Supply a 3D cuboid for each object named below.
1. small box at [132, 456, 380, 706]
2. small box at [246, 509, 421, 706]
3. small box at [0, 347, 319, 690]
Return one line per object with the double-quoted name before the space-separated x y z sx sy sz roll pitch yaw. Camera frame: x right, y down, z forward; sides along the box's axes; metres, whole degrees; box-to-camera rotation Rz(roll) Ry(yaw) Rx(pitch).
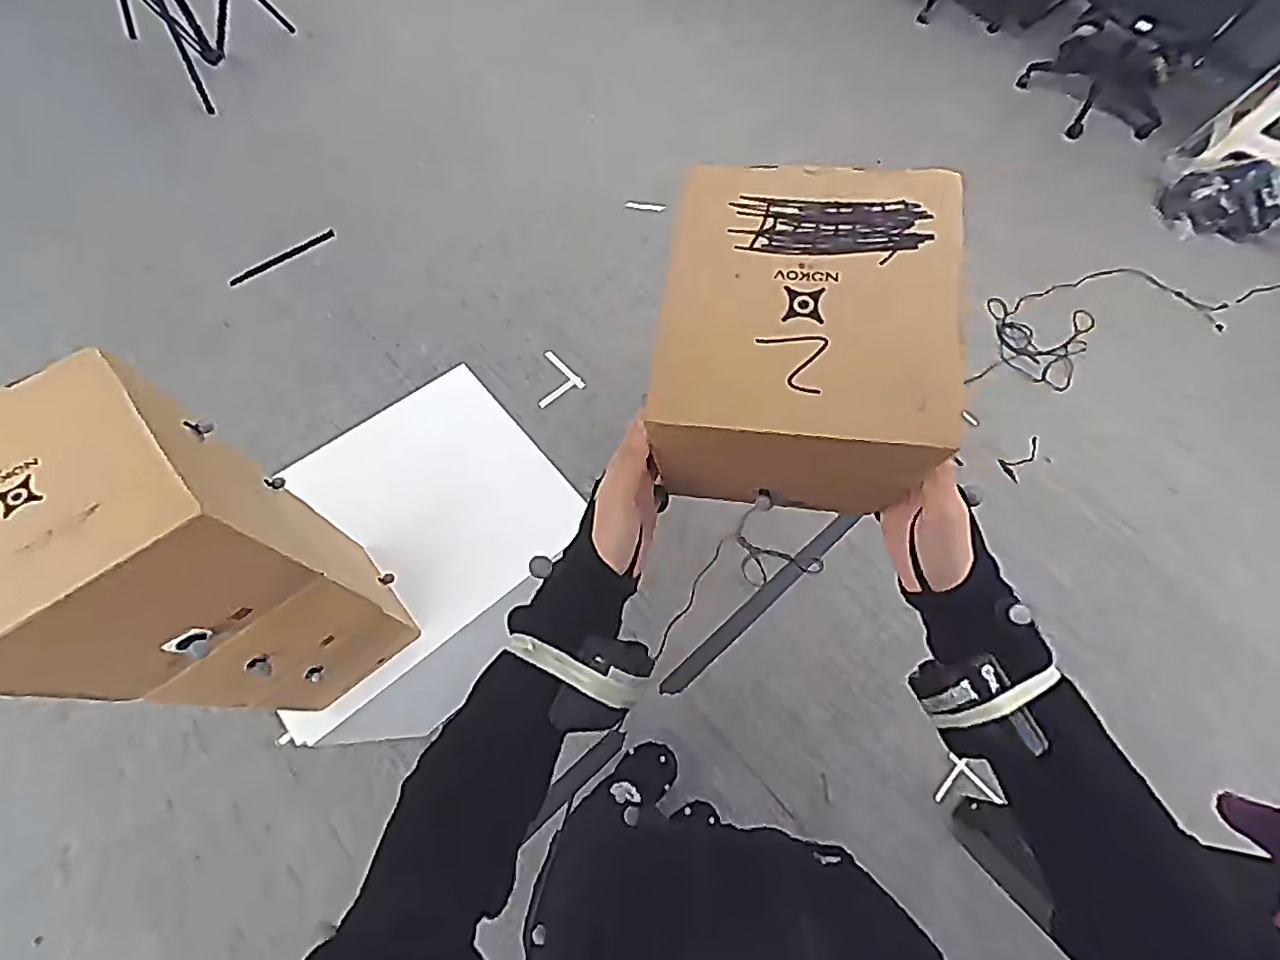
"small box" -0.409 0.110 0.564 0.168 0.176 0.179 -39 74 -19
"small box" -0.424 0.176 0.712 0.168 0.176 0.179 -37 73 -19
"small box" -0.398 0.041 0.417 0.168 0.176 0.179 -39 75 -18
